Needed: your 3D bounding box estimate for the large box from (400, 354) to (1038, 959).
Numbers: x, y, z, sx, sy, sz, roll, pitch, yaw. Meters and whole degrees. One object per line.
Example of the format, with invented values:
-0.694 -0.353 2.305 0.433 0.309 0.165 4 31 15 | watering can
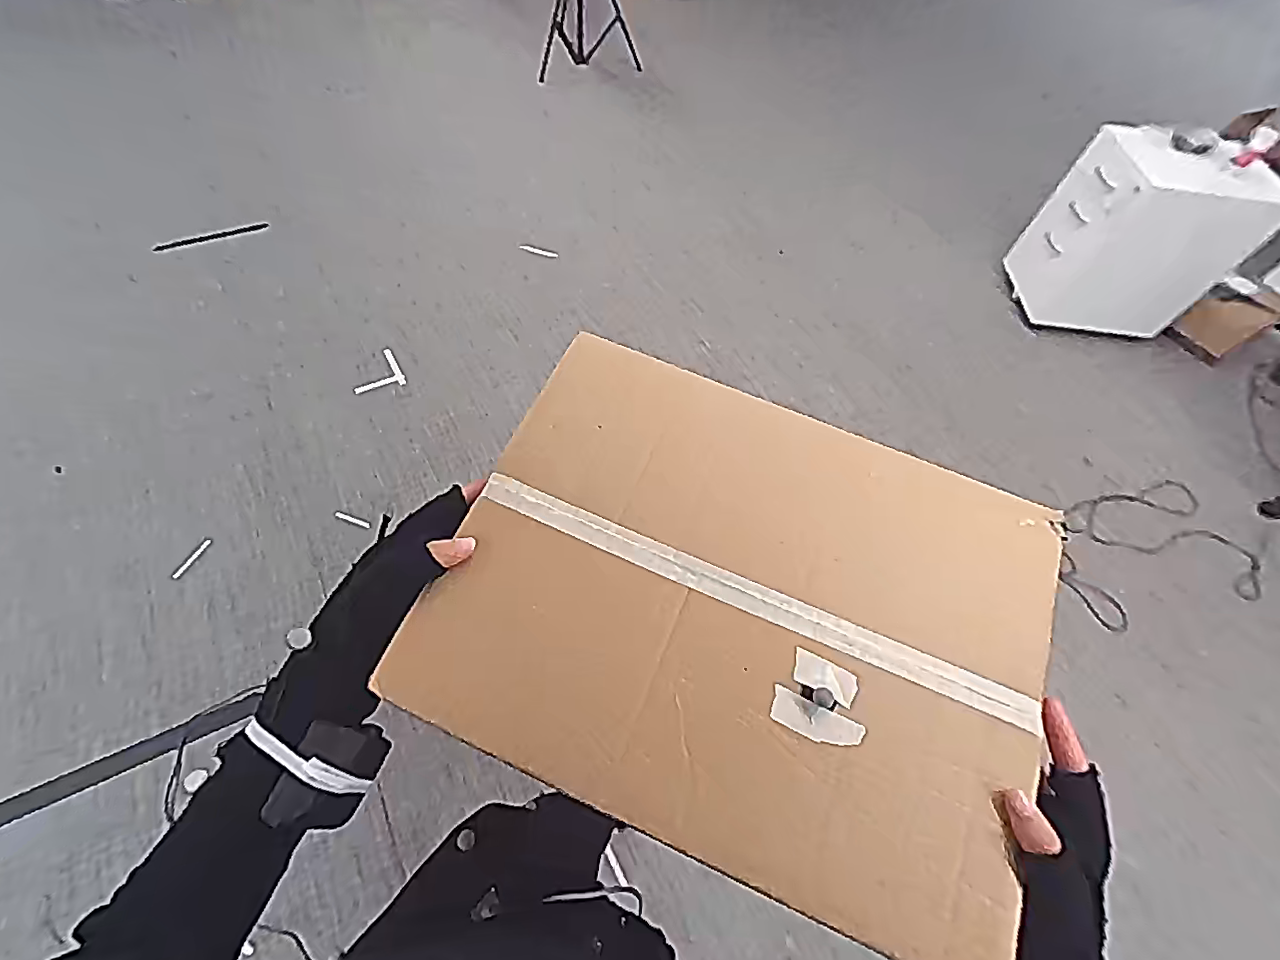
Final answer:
0.069 0.144 0.531 0.408 0.320 0.320 23 68 7 | large box
